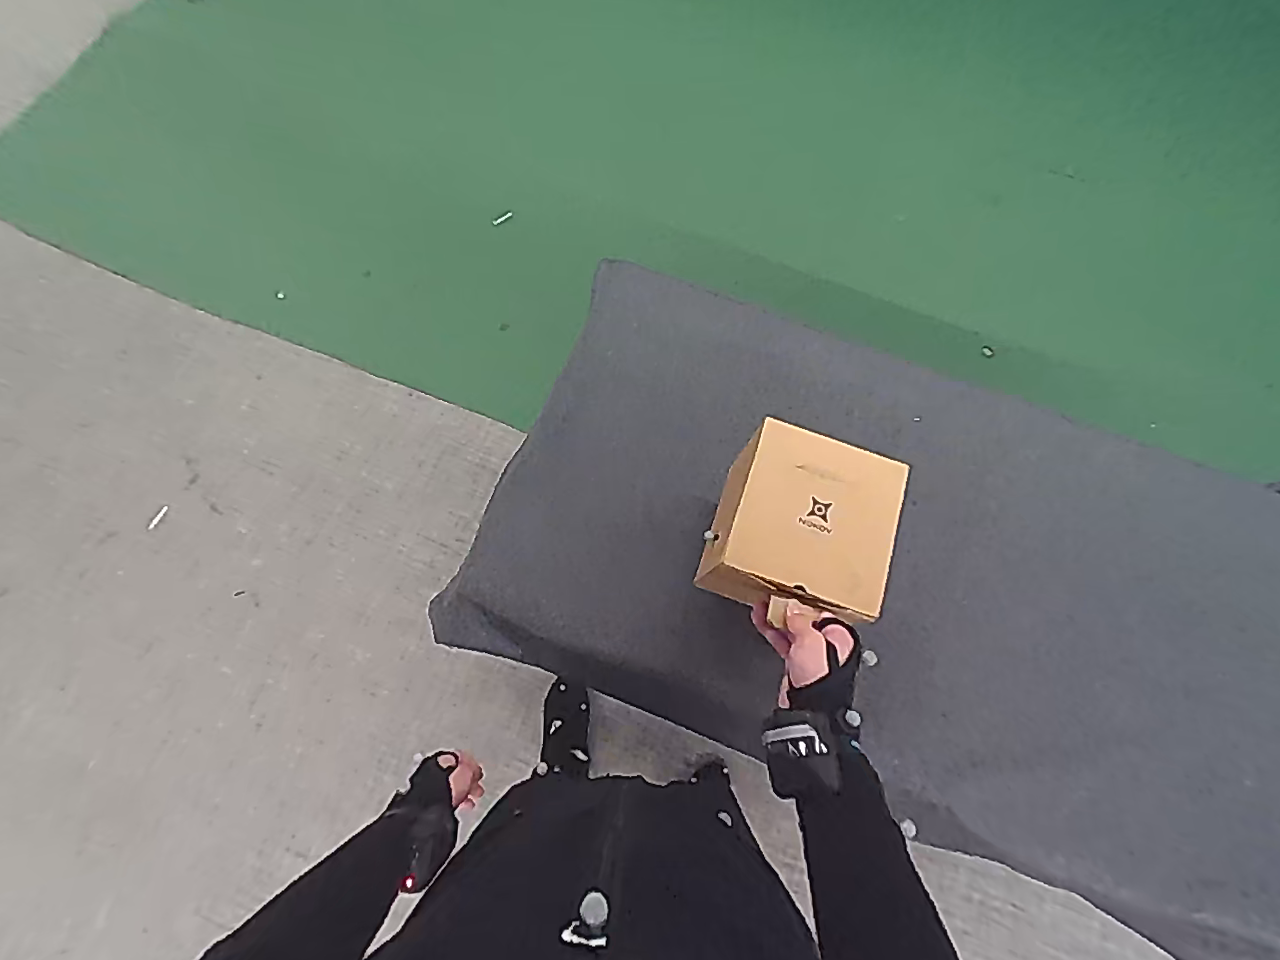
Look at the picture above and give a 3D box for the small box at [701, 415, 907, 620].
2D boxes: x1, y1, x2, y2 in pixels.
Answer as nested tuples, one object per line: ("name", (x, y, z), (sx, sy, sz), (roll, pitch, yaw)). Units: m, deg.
("small box", (0.181, 0.056, 0.643), (0.168, 0.176, 0.179), (21, 71, 1))
